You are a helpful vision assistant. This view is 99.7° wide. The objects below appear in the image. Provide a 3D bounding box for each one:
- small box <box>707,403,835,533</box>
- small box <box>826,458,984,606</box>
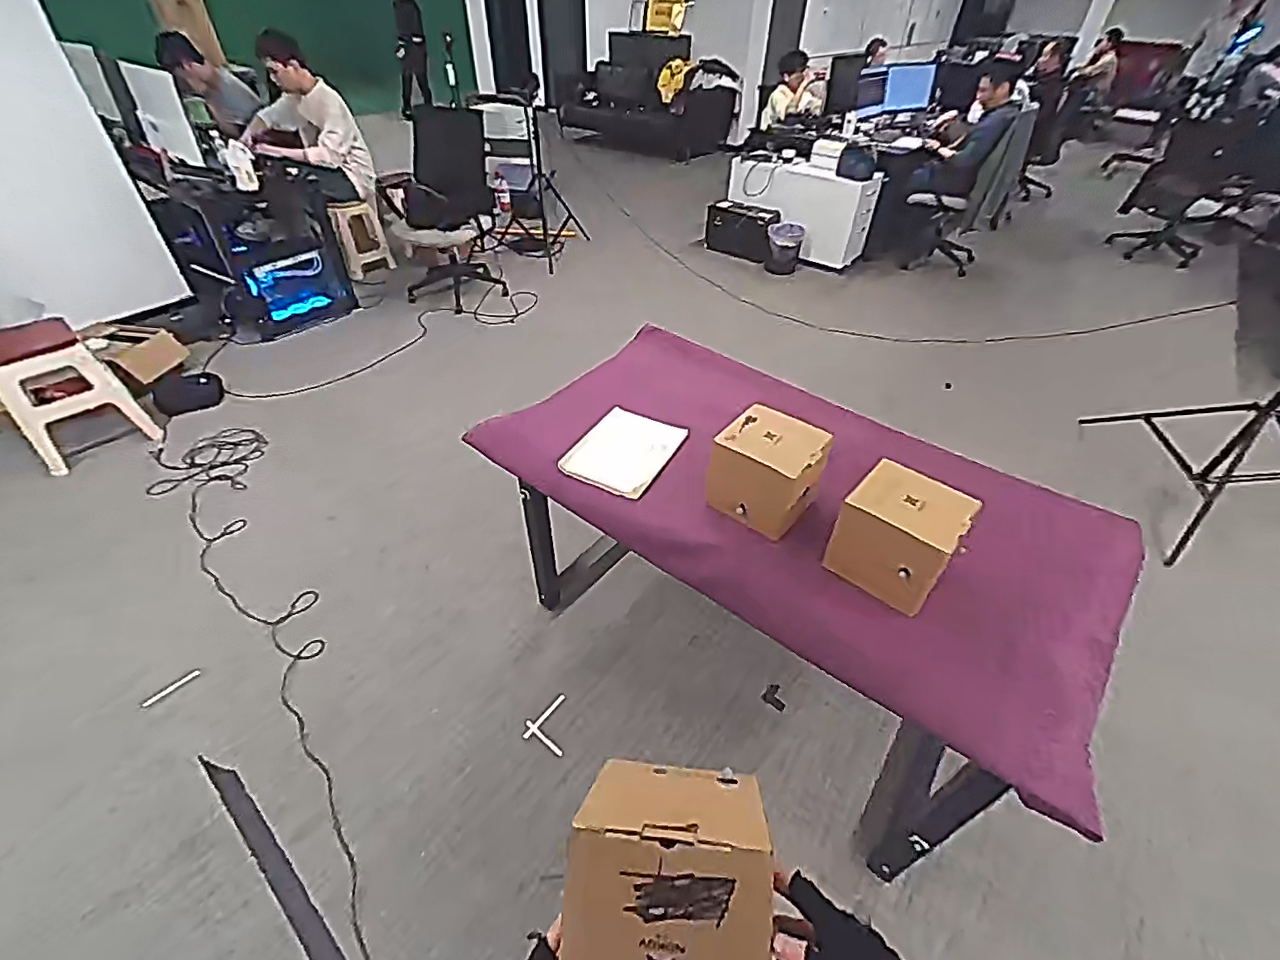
[{"bbox_3d":[0.255,-0.020,1.078,0.179,0.176,0.168,30,48,27],"label":"small box"},{"bbox_3d":[0.460,0.096,0.955,0.179,0.176,0.168,30,47,31],"label":"small box"}]
